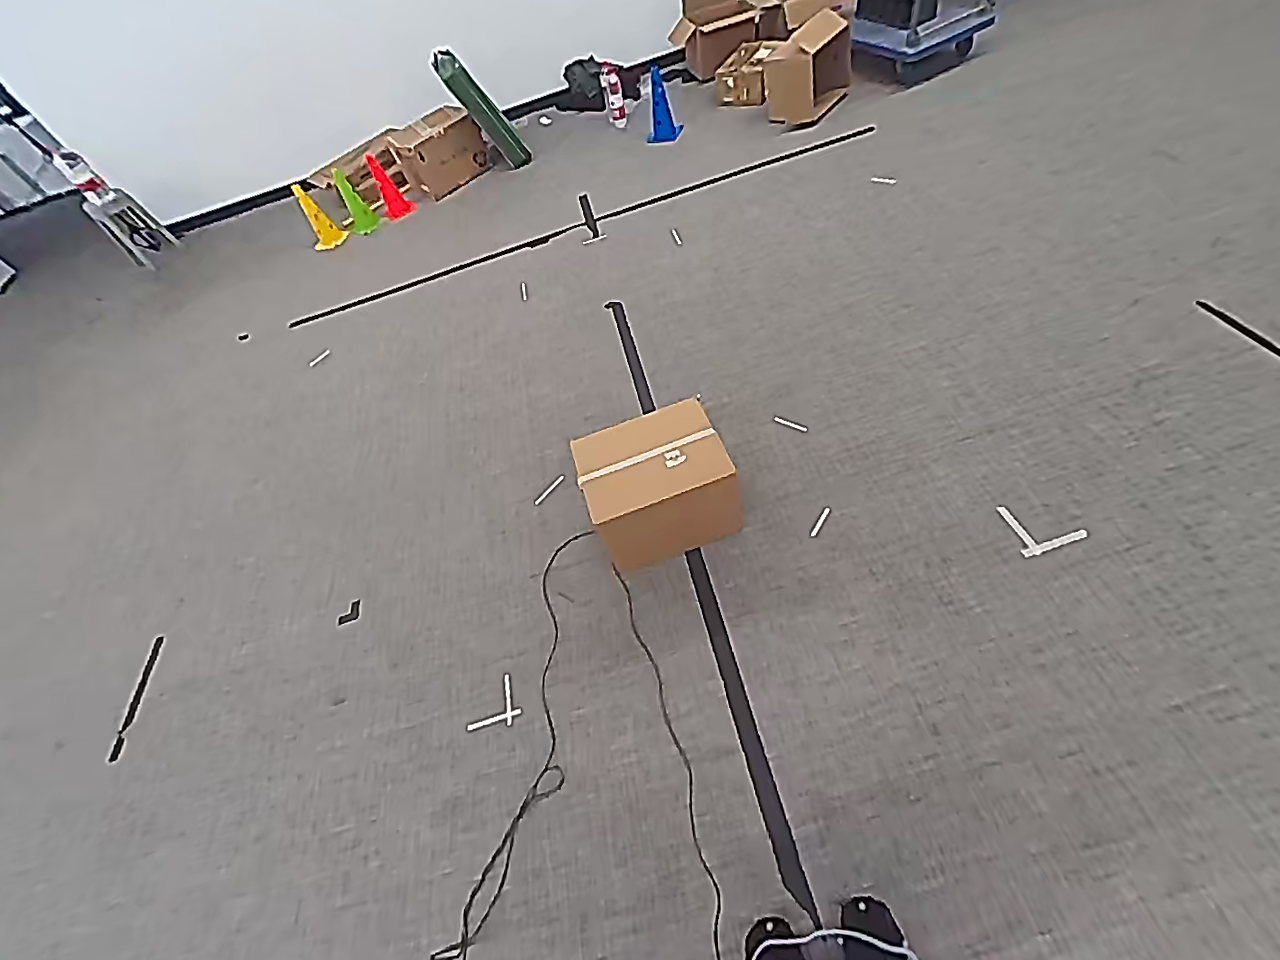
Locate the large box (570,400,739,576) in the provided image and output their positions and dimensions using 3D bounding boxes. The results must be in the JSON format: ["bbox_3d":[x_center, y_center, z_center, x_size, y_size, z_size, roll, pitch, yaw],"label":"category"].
[{"bbox_3d":[0.048,0.030,1.620,0.408,0.320,0.320,-20,53,-1],"label":"large box"}]
